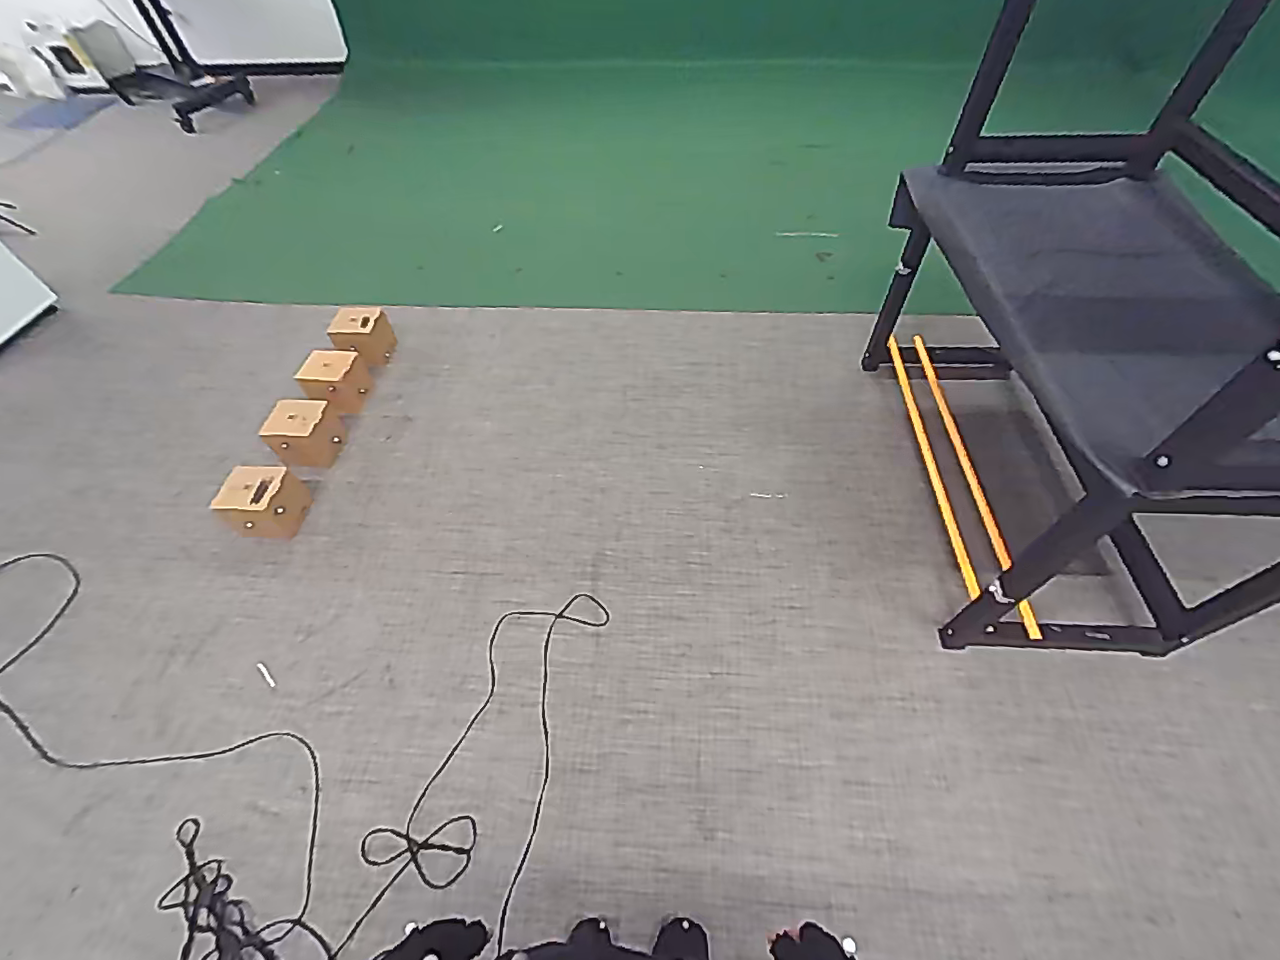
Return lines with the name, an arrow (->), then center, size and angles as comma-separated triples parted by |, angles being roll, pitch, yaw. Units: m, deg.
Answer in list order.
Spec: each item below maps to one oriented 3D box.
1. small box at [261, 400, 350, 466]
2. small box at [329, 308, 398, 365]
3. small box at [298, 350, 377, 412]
small box -> -1.165, -0.164, 1.898 | 0.179, 0.176, 0.168 | 2, 54, 3
small box -> -1.129, -0.588, 2.226 | 0.179, 0.176, 0.168 | 1, 52, 3
small box -> -1.147, -0.375, 2.064 | 0.179, 0.176, 0.168 | 4, 52, 4
